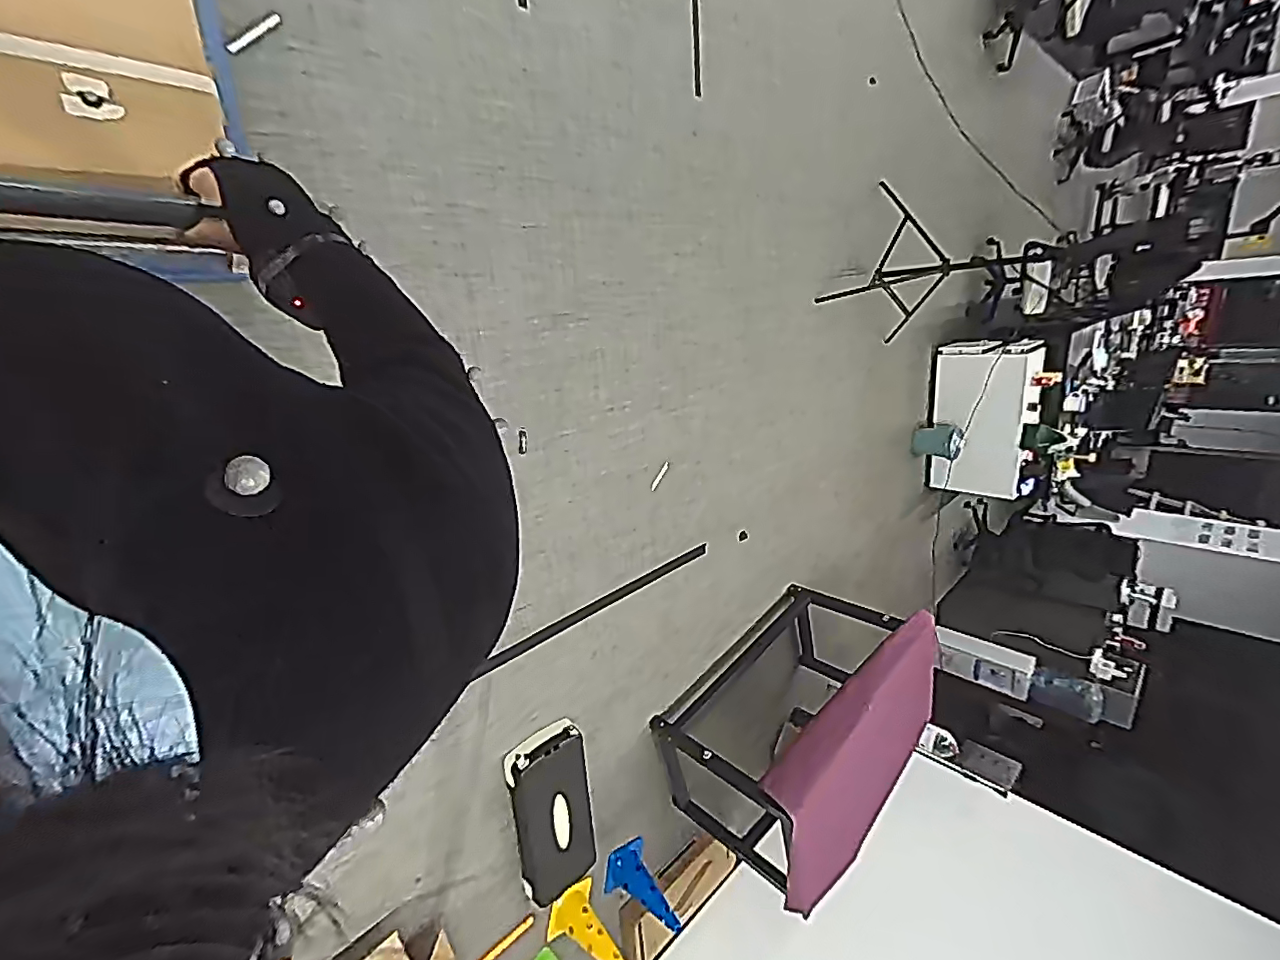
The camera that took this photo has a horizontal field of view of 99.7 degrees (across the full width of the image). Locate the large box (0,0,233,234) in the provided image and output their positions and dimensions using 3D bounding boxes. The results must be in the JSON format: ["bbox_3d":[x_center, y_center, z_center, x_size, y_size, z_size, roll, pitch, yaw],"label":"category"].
[{"bbox_3d":[-0.870,-0.547,0.754,0.408,0.320,0.320,-17,111,-41],"label":"large box"}]
